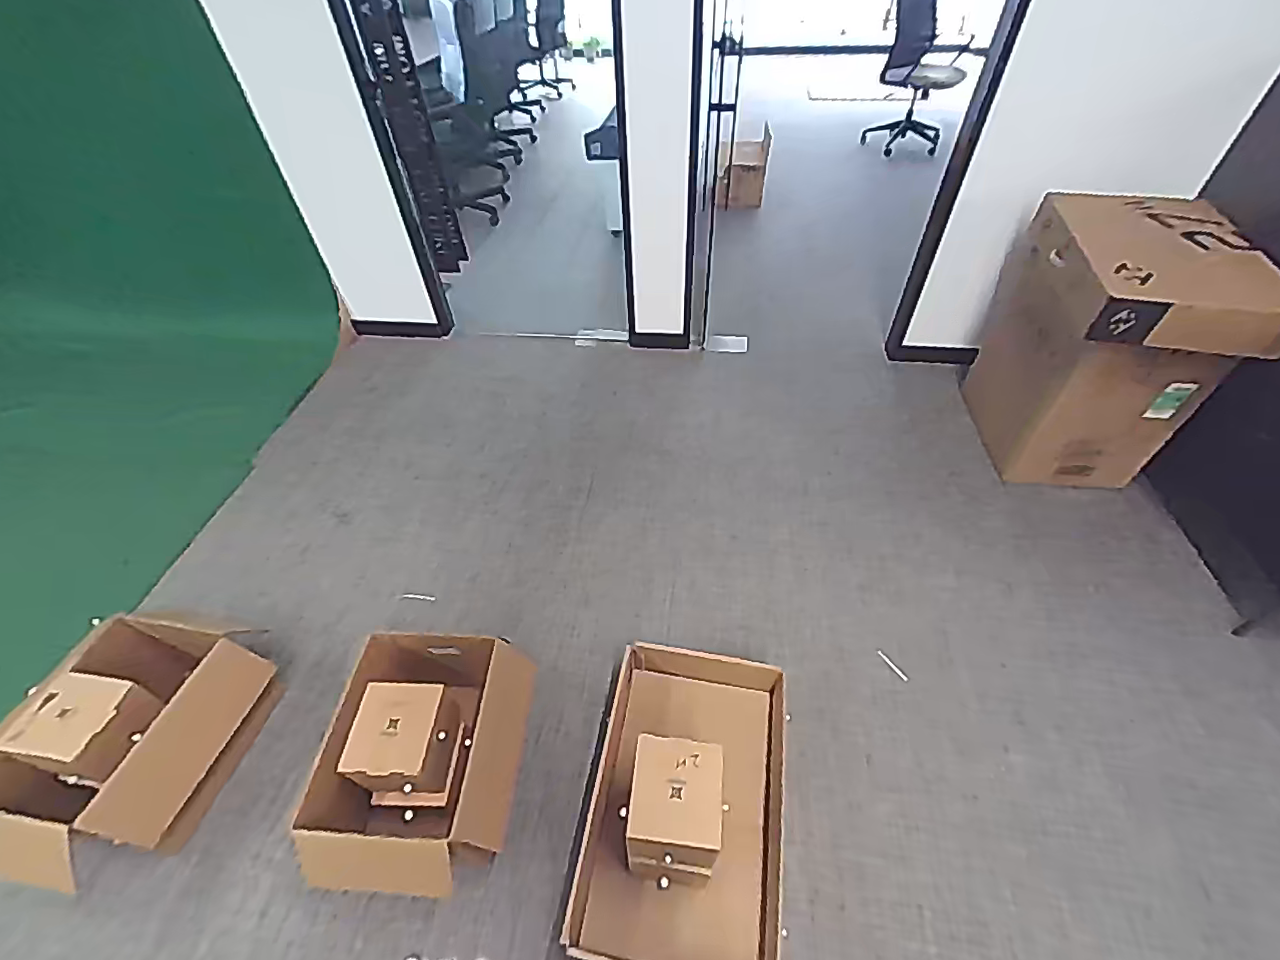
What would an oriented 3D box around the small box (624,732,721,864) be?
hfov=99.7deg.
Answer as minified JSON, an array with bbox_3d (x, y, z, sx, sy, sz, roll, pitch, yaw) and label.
[{"bbox_3d":[0.065,0.611,1.034,0.168,0.176,0.179,5,46,5],"label":"small box"}]

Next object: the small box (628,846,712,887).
[{"bbox_3d":[0.069,0.731,1.146,0.168,0.176,0.179,7,46,7],"label":"small box"}]

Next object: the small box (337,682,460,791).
[{"bbox_3d":[-0.499,0.548,1.150,0.168,0.176,0.179,1,49,2],"label":"small box"}]
